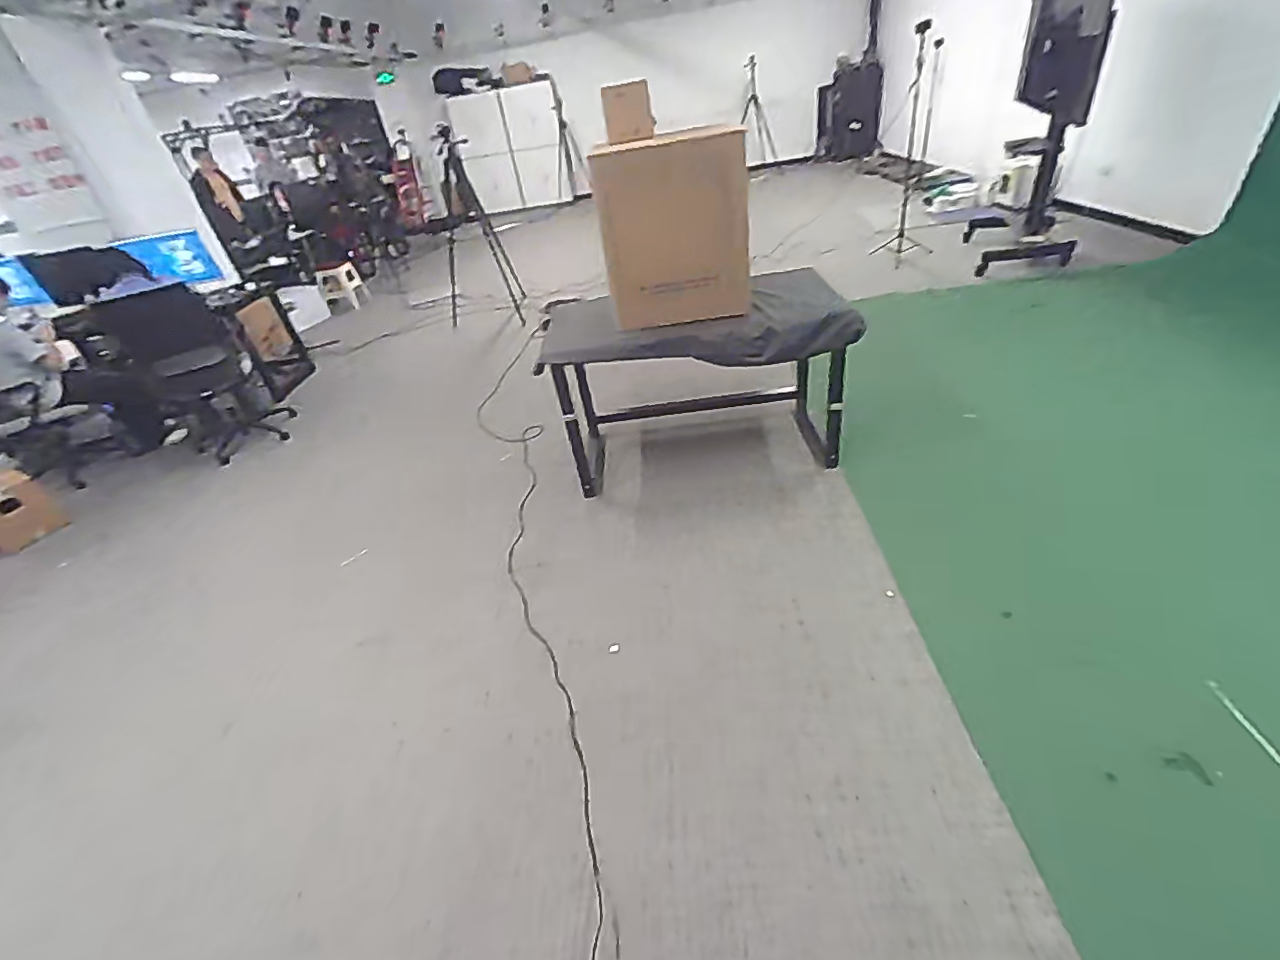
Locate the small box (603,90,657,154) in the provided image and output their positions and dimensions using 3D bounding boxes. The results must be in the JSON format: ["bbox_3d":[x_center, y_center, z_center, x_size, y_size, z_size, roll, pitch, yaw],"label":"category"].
[{"bbox_3d":[-0.032,-1.280,1.939,0.168,0.176,0.179,-7,33,6],"label":"small box"}]
